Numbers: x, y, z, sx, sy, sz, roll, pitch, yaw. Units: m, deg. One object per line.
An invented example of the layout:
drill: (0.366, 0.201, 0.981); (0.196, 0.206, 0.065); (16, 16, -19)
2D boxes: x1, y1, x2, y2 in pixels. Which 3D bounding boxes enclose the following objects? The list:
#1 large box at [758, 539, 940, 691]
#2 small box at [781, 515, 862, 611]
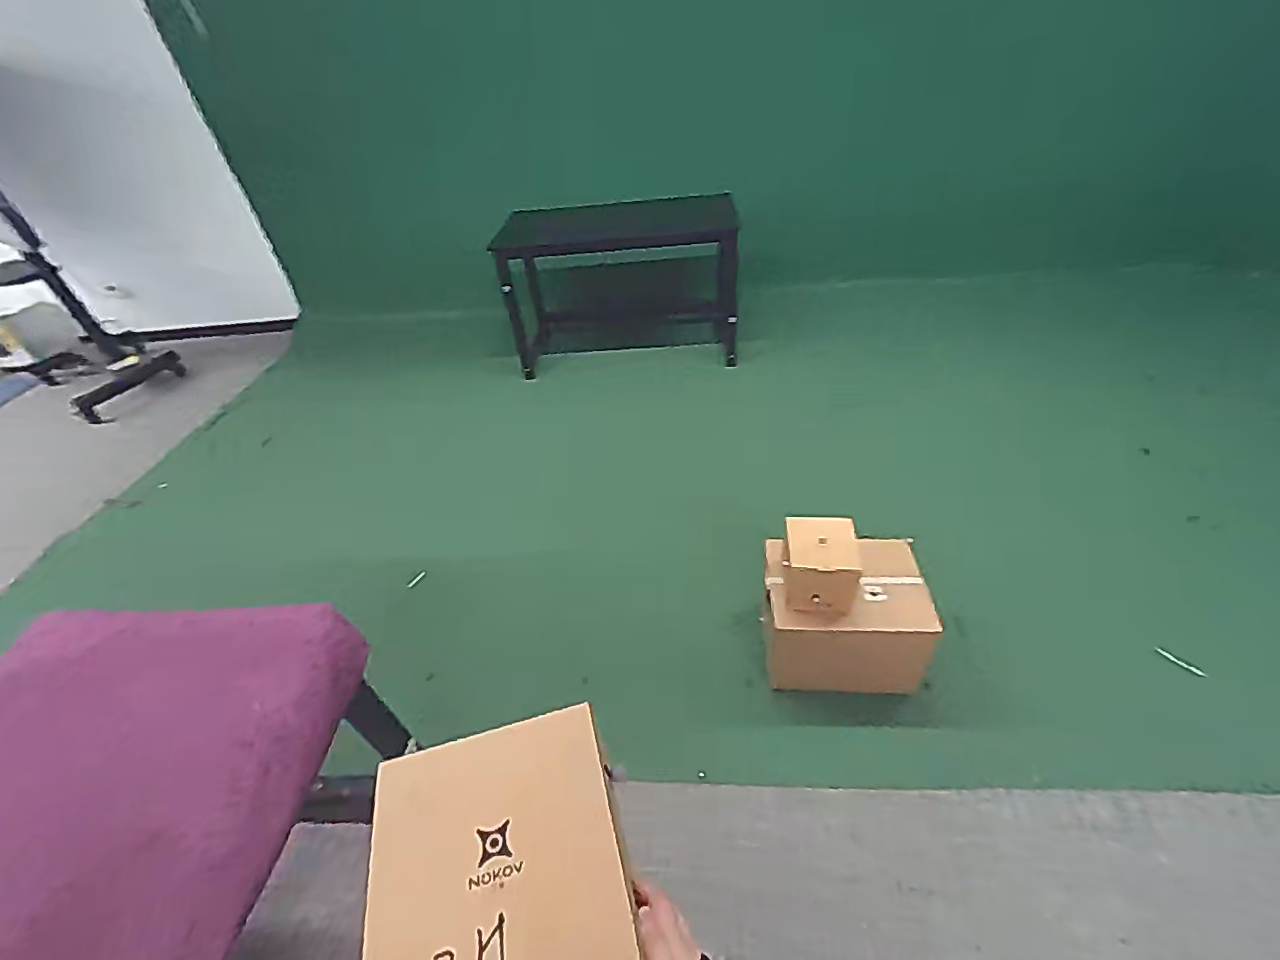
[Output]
large box: (0.562, 0.386, 1.550); (0.408, 0.320, 0.320); (-1, 41, 7)
small box: (0.458, 0.212, 1.393); (0.168, 0.176, 0.179); (1, 42, 8)
